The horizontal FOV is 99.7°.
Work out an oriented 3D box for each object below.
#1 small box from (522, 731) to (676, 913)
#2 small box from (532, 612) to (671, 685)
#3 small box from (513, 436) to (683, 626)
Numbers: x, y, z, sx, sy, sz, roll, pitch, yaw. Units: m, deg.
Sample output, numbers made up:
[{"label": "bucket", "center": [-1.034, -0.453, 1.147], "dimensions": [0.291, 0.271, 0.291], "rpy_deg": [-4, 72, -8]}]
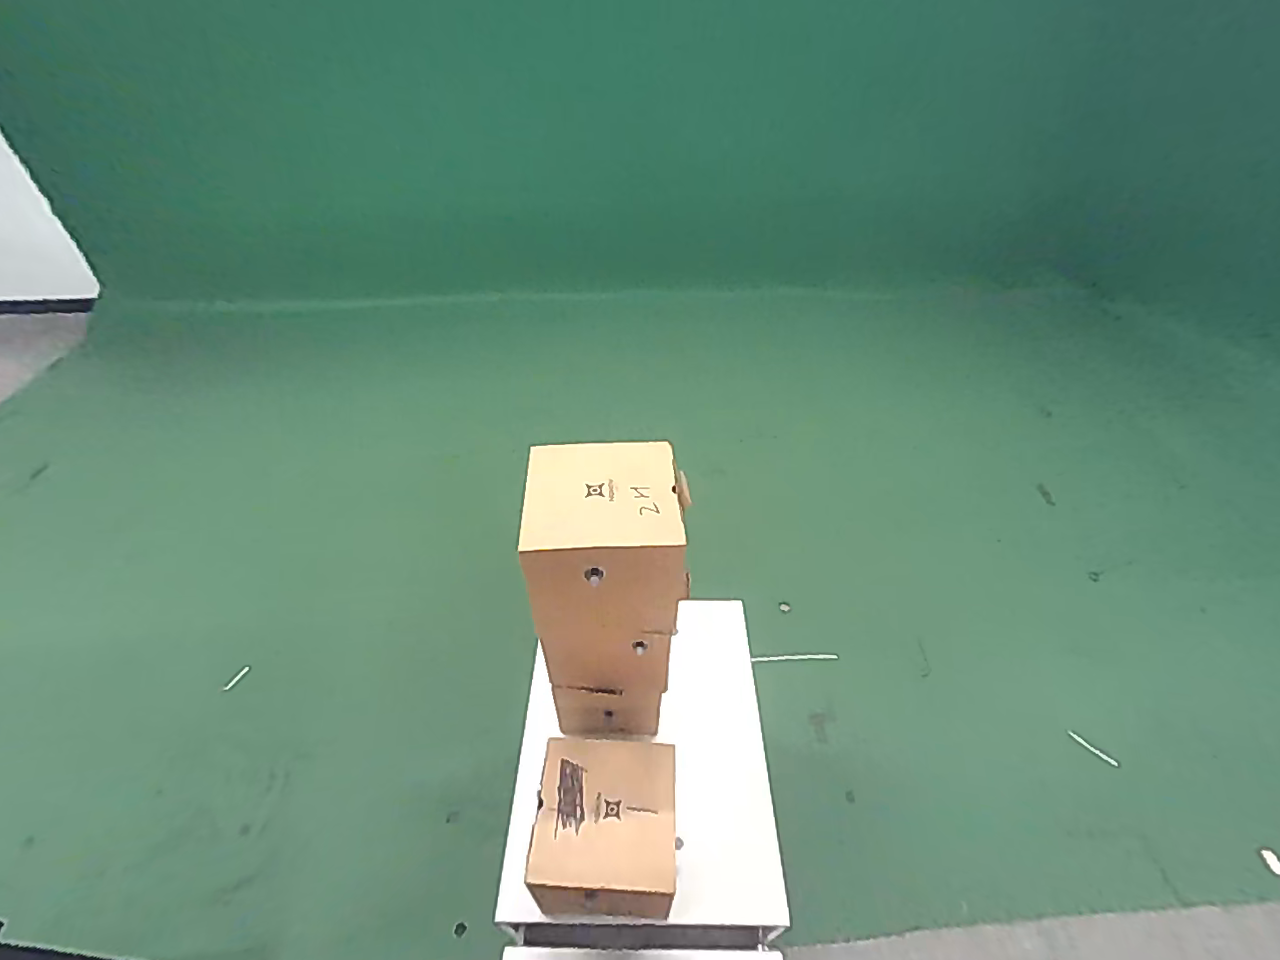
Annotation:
[{"label": "small box", "center": [-0.044, 0.456, 0.719], "dimensions": [0.179, 0.176, 0.168], "rpy_deg": [3, 43, 1]}, {"label": "small box", "center": [-0.044, 0.178, 0.775], "dimensions": [0.179, 0.176, 0.168], "rpy_deg": [4, 44, 2]}, {"label": "small box", "center": [-0.047, 0.064, 0.657], "dimensions": [0.179, 0.176, 0.168], "rpy_deg": [-1, 45, -3]}]
